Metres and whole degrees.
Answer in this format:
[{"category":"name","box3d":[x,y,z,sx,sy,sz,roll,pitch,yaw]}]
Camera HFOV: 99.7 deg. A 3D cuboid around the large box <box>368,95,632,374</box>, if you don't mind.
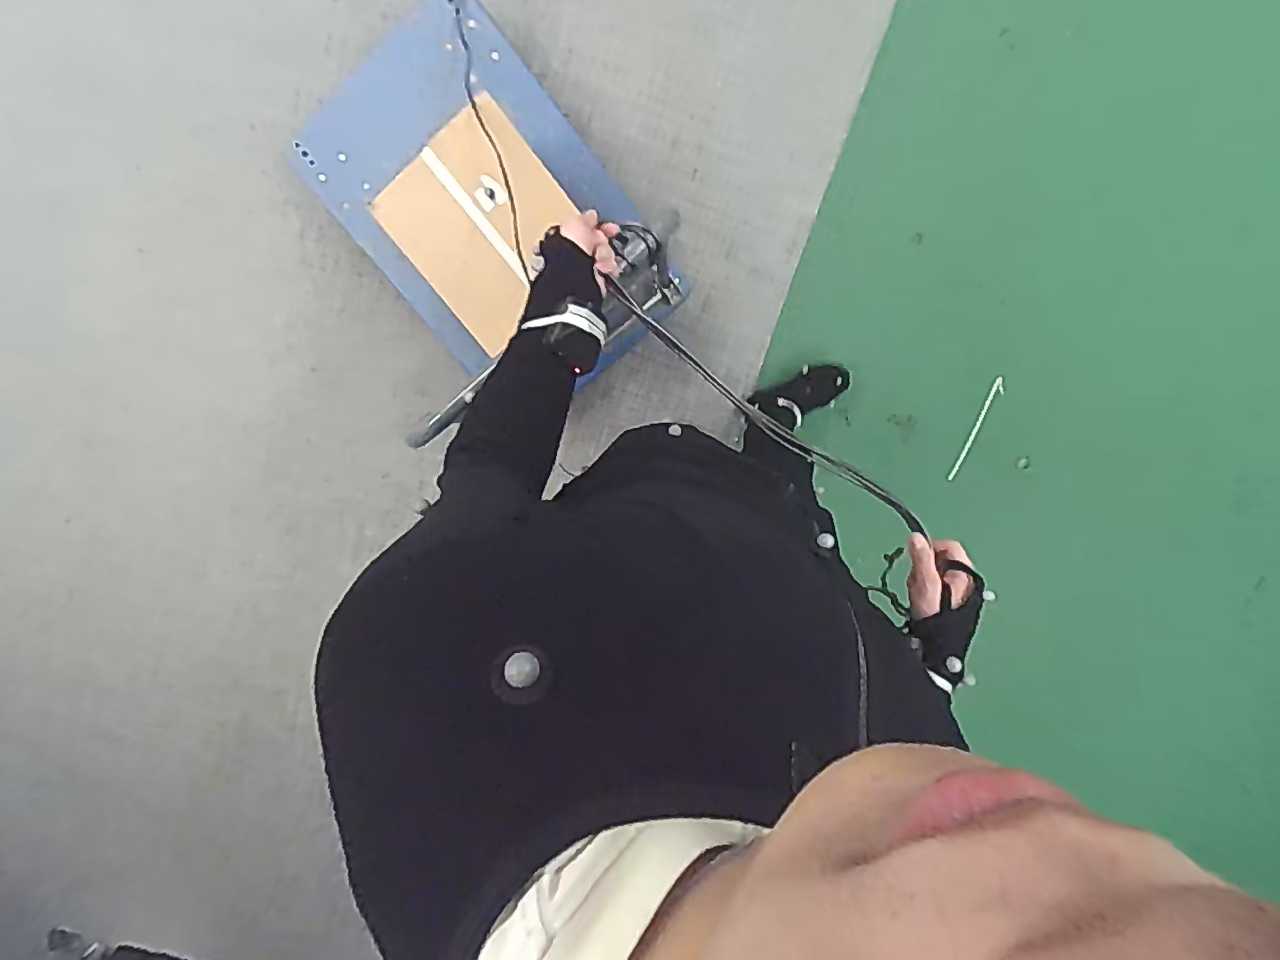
[{"category":"large box","box3d":[-0.264,-0.484,1.163,0.320,0.320,0.408,-38,99,9]}]
